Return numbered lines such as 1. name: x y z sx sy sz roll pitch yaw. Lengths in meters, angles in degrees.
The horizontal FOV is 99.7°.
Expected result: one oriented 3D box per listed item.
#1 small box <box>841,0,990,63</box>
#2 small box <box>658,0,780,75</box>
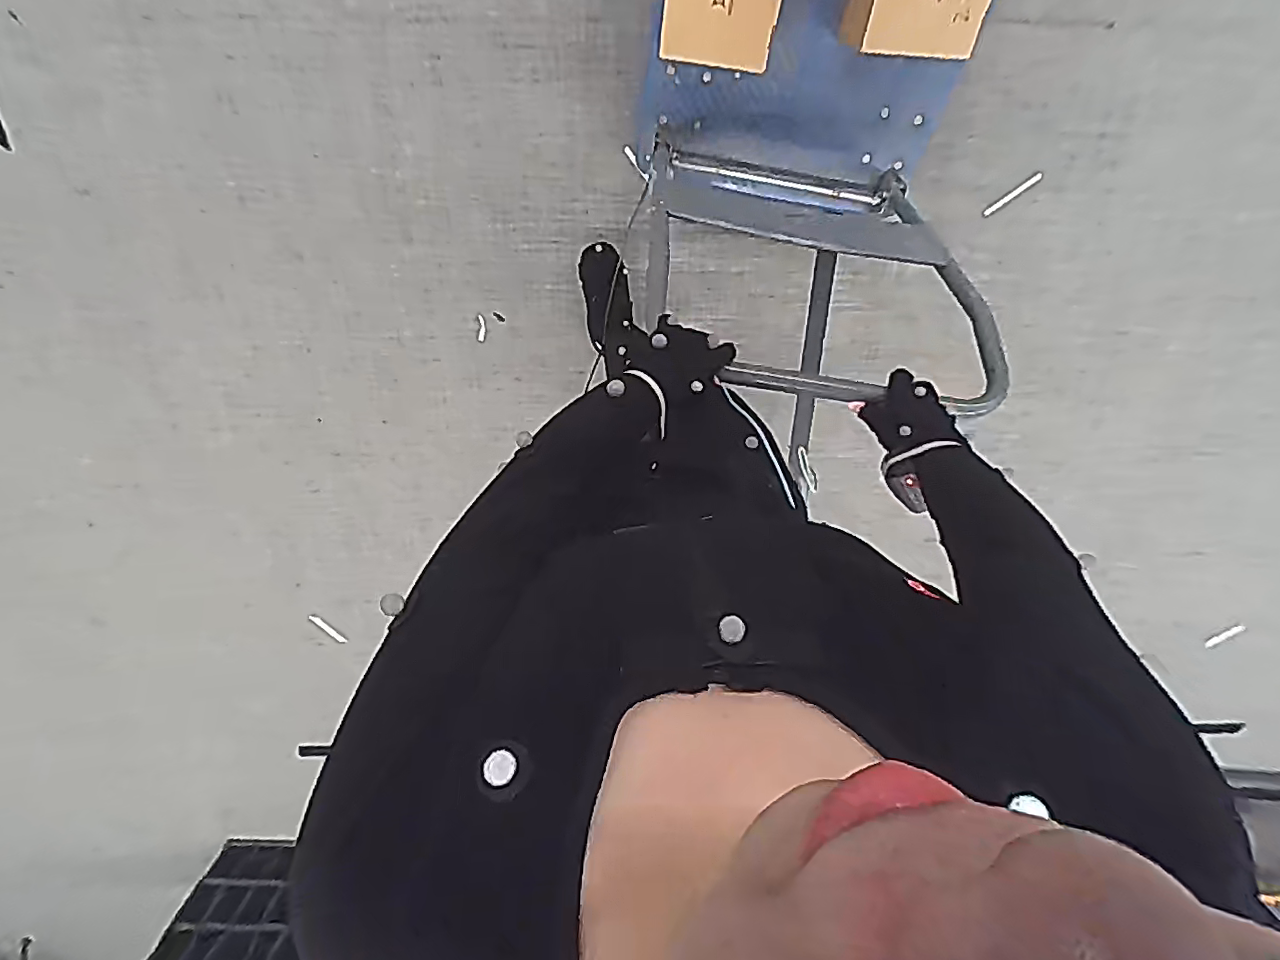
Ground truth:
1. small box: 0.438 -0.778 0.854 0.179 0.176 0.168 4 134 0
2. small box: 0.126 -0.778 0.873 0.179 0.176 0.168 5 134 -4
